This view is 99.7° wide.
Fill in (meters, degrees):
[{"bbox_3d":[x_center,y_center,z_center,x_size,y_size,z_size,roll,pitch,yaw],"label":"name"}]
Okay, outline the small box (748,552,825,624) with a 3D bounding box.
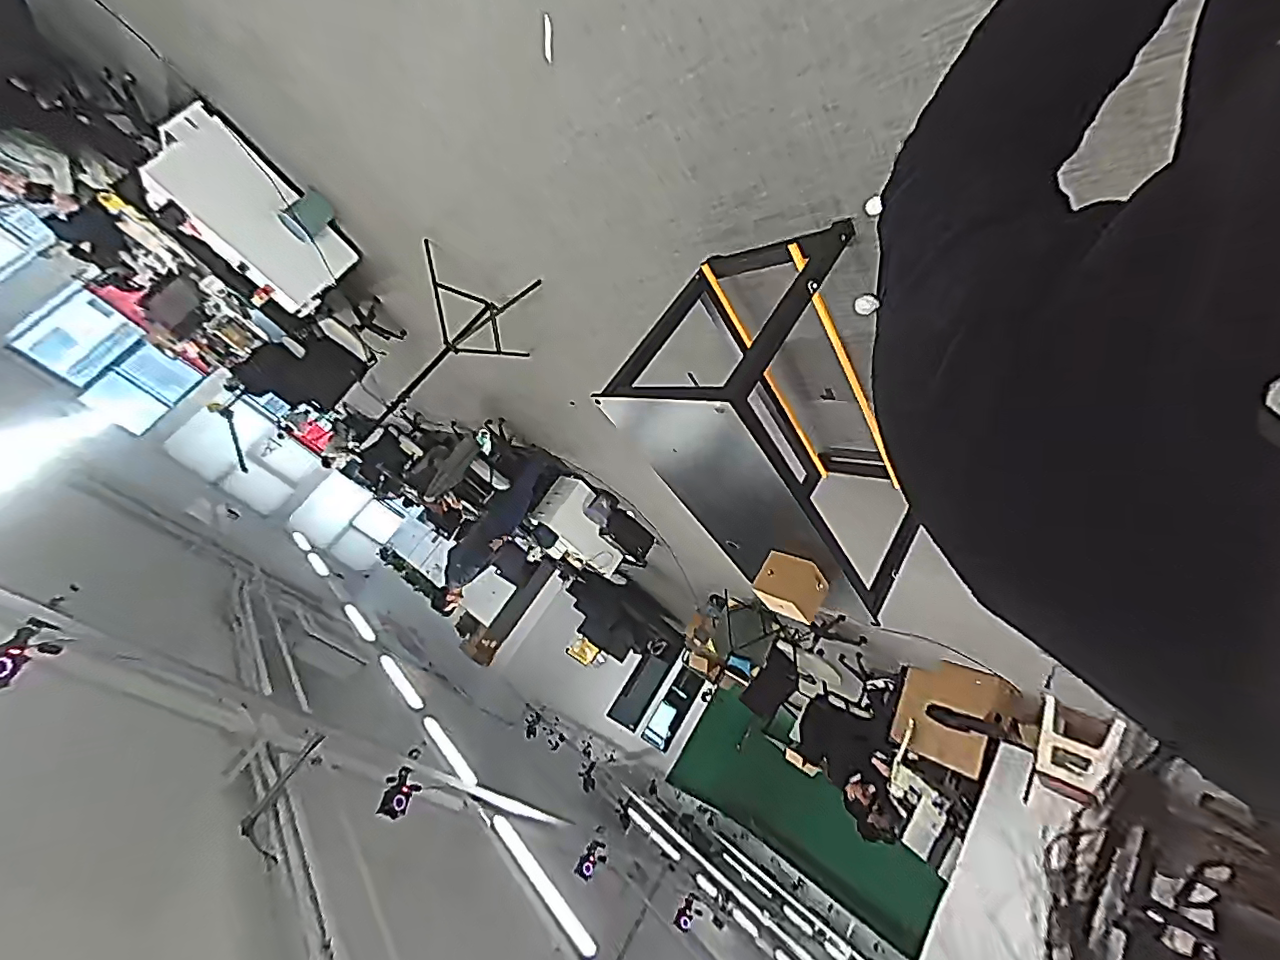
[{"bbox_3d":[0.521,0.376,1.917,0.179,0.176,0.168,11,152,49],"label":"small box"}]
